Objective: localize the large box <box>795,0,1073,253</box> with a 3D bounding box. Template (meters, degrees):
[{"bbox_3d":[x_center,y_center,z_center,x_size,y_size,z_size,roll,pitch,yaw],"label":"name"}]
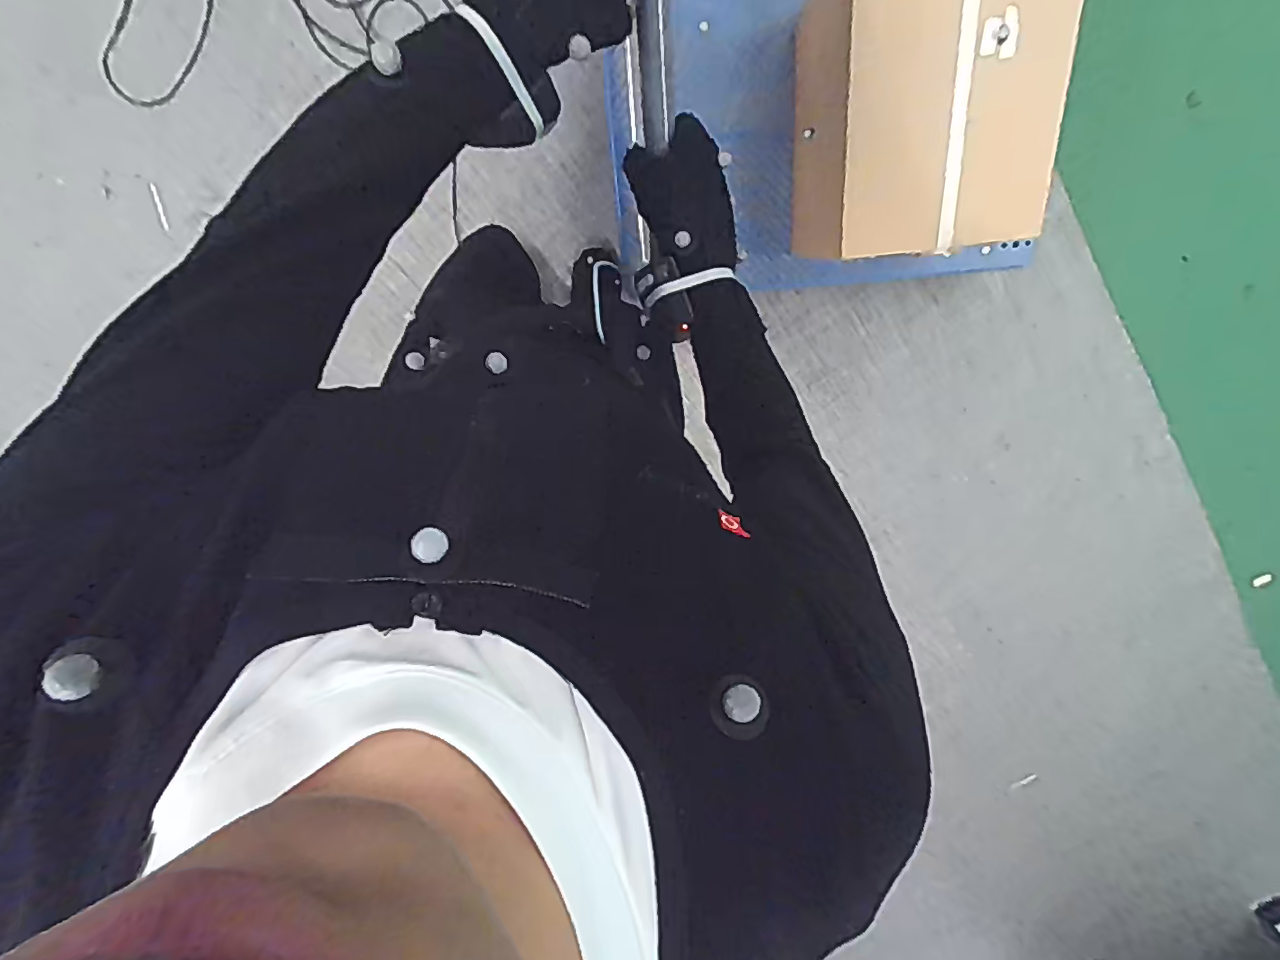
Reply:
[{"bbox_3d":[0.452,-0.622,0.919,0.320,0.320,0.408,-5,114,2],"label":"large box"}]
